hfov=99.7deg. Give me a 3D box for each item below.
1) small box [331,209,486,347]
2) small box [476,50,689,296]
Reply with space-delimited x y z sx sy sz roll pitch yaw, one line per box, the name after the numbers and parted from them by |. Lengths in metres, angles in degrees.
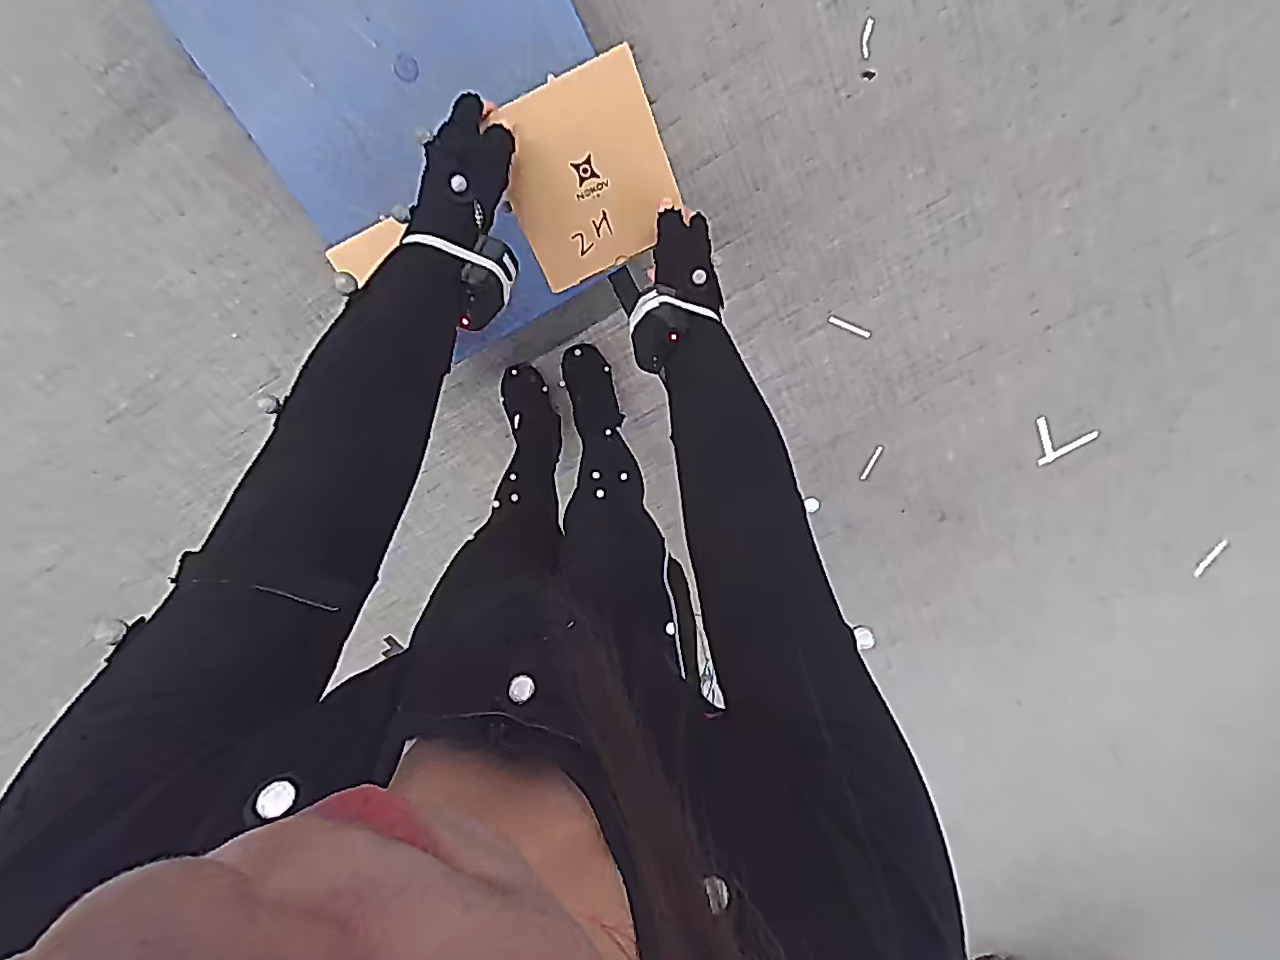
-0.388 -0.360 0.950 0.179 0.176 0.168 -24 116 7 | small box
-0.061 -0.339 0.618 0.168 0.176 0.179 -22 120 8 | small box
